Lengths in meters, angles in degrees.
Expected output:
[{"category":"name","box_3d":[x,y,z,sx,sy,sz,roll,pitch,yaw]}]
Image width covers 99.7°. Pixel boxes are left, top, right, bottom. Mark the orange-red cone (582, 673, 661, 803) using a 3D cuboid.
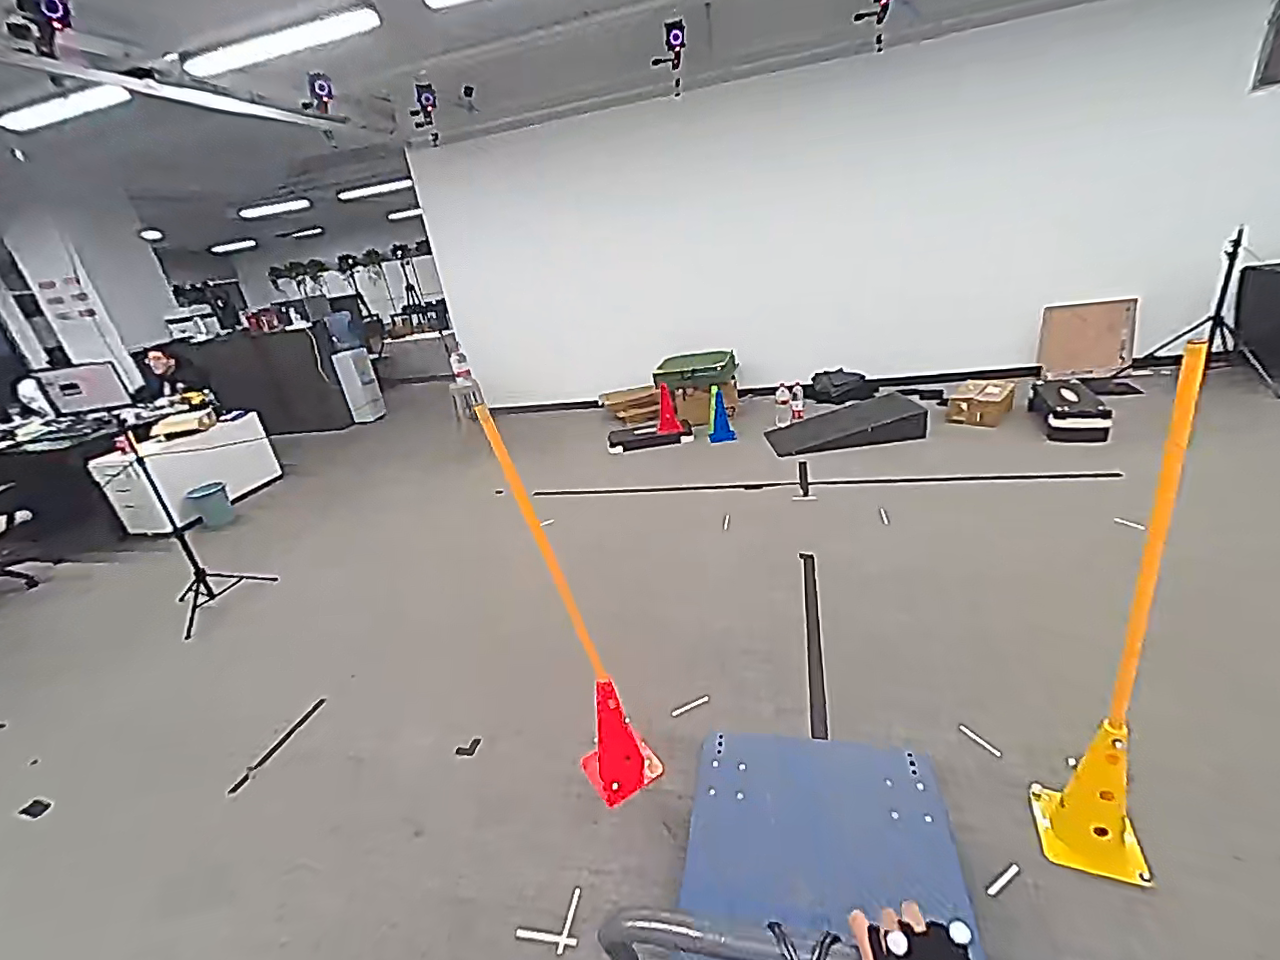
[{"category":"orange-red cone","box_3d":[-0.078,0.712,1.580,0.199,0.360,0.198,-19,27,-26]}]
